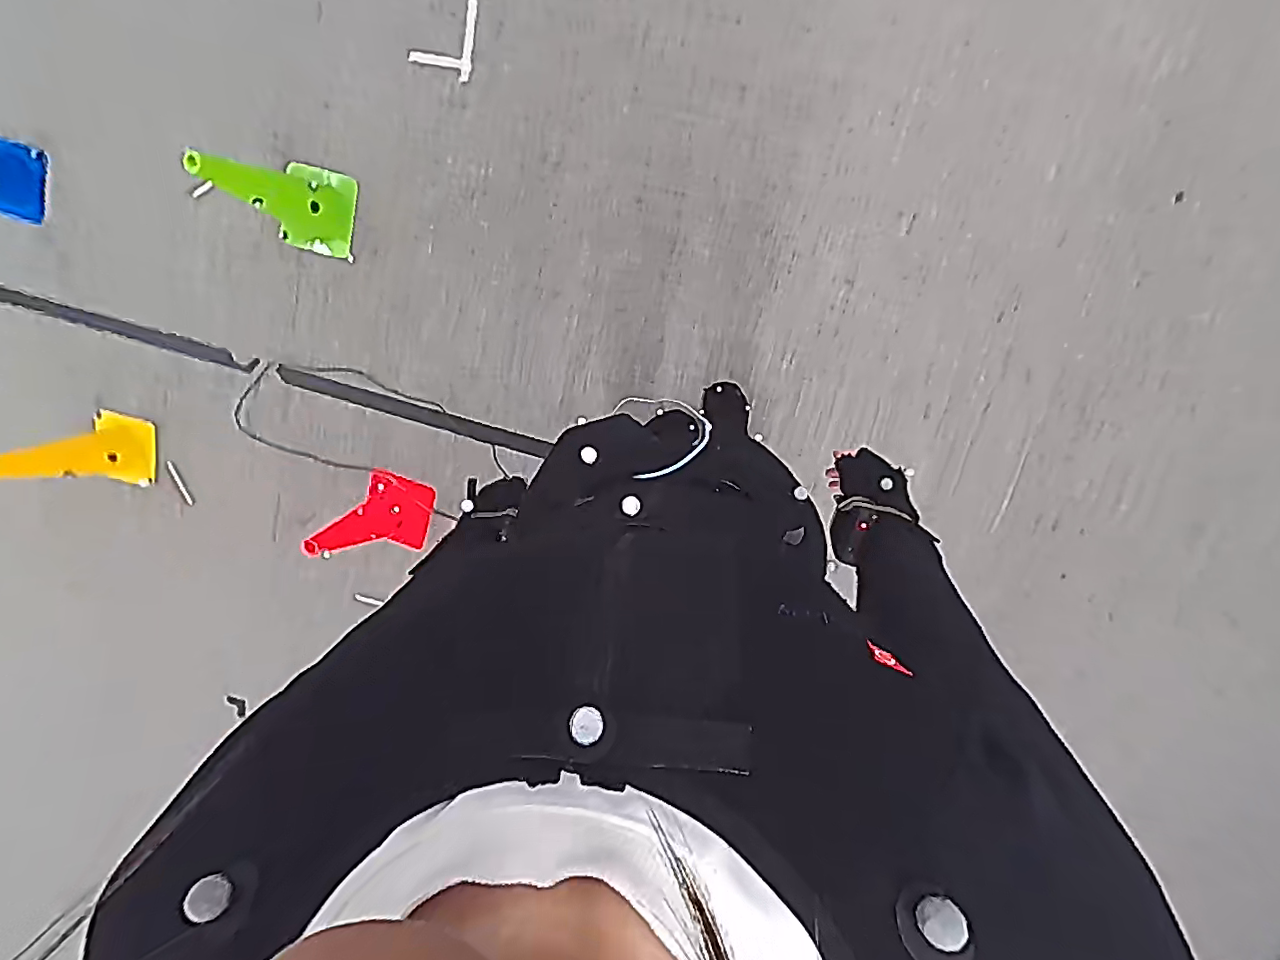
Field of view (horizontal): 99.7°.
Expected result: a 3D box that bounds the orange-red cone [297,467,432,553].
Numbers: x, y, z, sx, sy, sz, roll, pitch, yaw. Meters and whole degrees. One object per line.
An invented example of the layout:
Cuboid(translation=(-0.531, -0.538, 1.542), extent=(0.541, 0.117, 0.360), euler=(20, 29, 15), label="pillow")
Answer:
Cuboid(translation=(-0.727, 0.114, 1.383), extent=(0.198, 0.360, 0.199), euler=(21, 105, 4), label="orange-red cone")

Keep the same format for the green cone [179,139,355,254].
Cuboid(translation=(-0.863, -0.675, 1.236), extent=(0.200, 0.368, 0.202), euler=(16, 102, 4), label="green cone")

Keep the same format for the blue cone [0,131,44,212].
Cuboid(translation=(-1.764, -0.825, 1.339), extent=(0.193, 0.380, 0.192), euler=(20, 102, 3), label="blue cone")
